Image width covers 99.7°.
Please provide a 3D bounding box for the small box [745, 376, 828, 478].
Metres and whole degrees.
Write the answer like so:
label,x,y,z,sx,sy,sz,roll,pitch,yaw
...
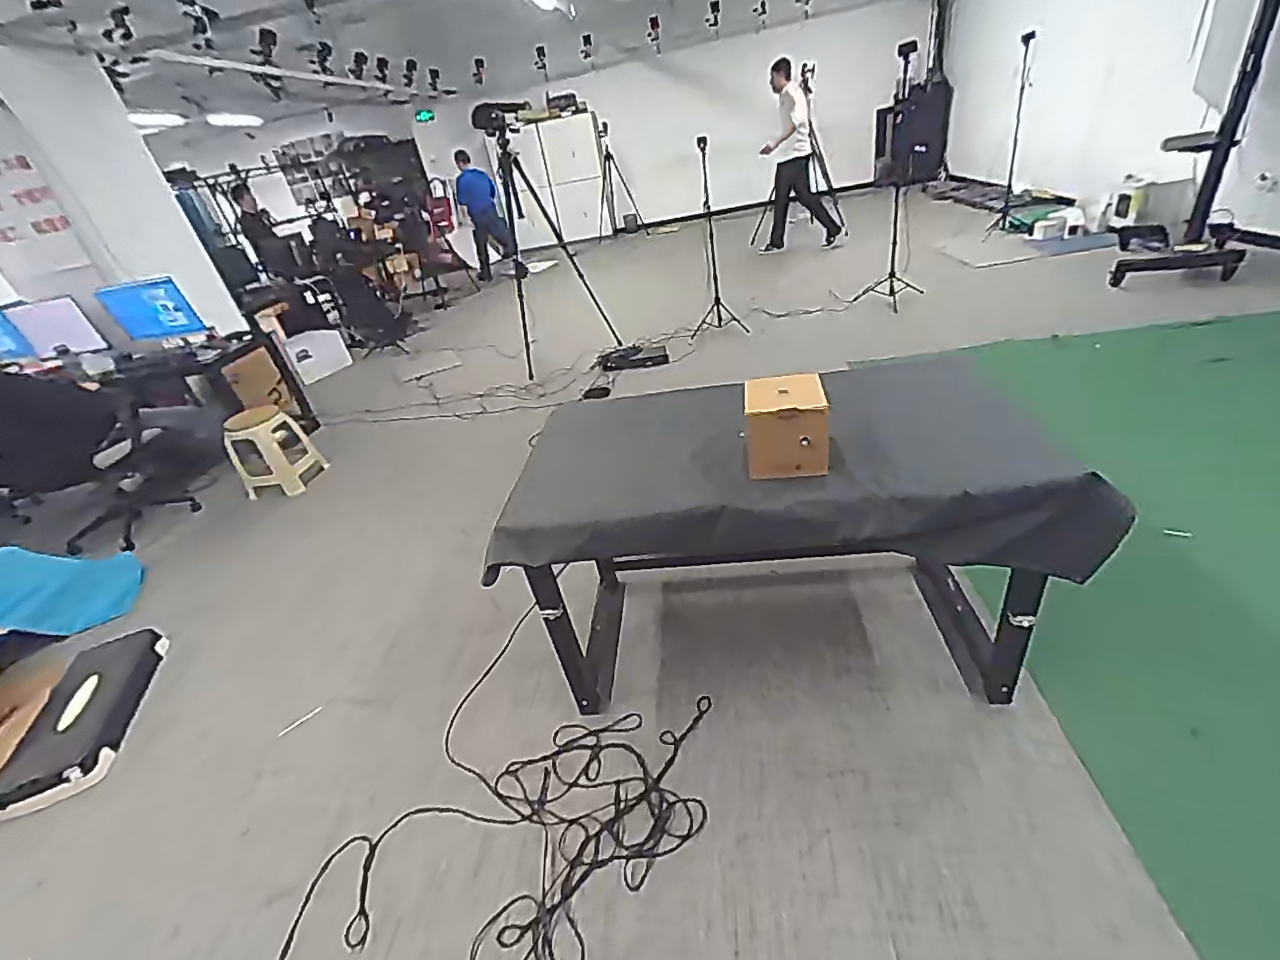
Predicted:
label,x,y,z,sx,sy,sz,roll,pitch,yaw
small box,0.324,-0.114,1.203,0.168,0.176,0.179,-3,32,12
